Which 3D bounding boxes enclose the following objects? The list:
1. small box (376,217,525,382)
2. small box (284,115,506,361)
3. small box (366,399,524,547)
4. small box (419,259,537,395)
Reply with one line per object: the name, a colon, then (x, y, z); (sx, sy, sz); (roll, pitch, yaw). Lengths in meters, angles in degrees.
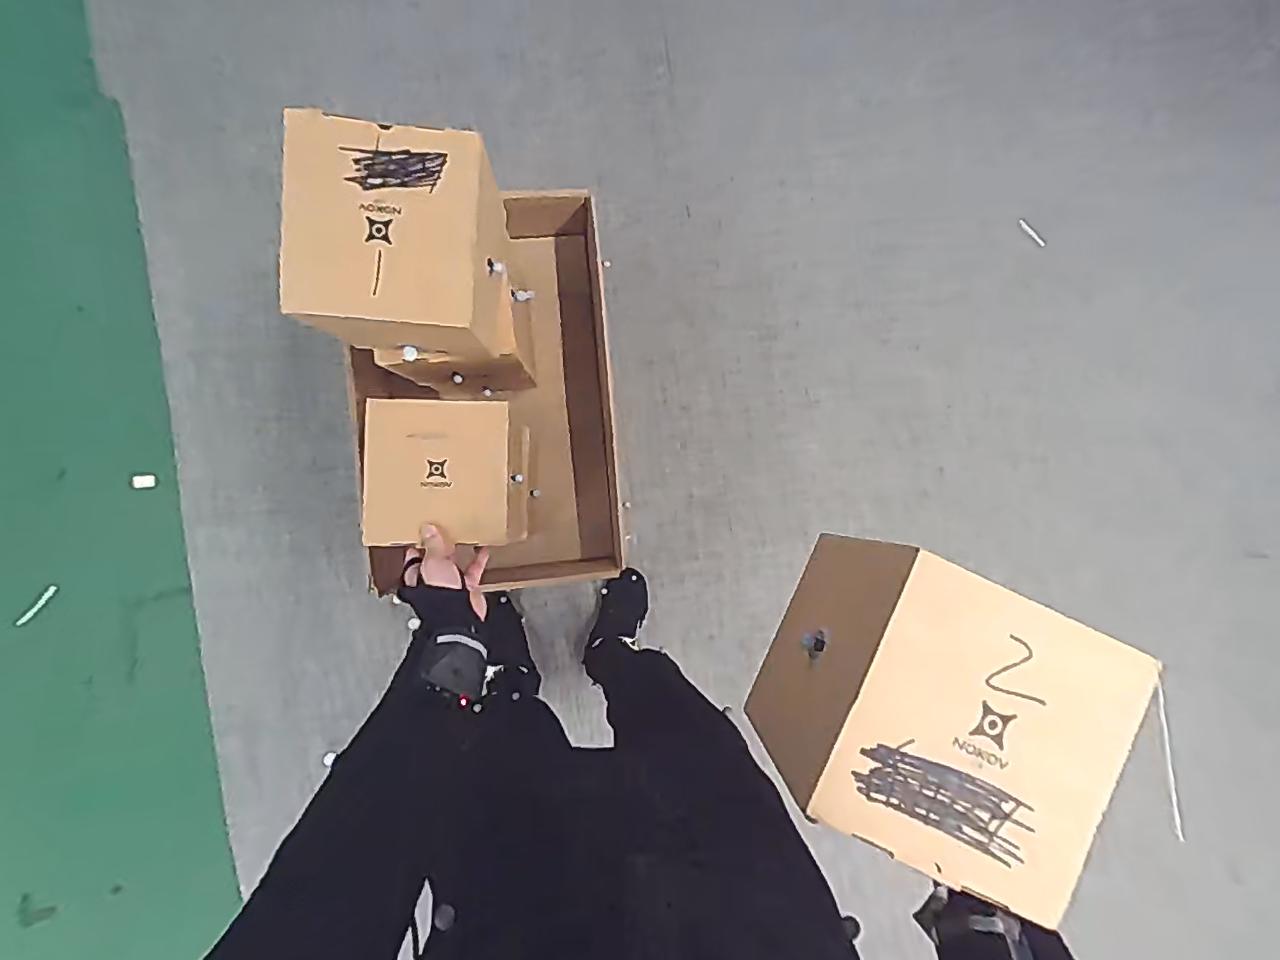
small box: (-0.250, -0.234, 0.727); (0.168, 0.176, 0.179); (-6, 94, -7)
small box: (-0.236, -0.231, 0.563); (0.168, 0.176, 0.179); (4, 93, -7)
small box: (-0.247, -0.004, 0.723); (0.168, 0.176, 0.179); (1, 87, -7)
small box: (-0.265, -0.242, 0.887); (0.168, 0.176, 0.179); (-6, 93, -5)
